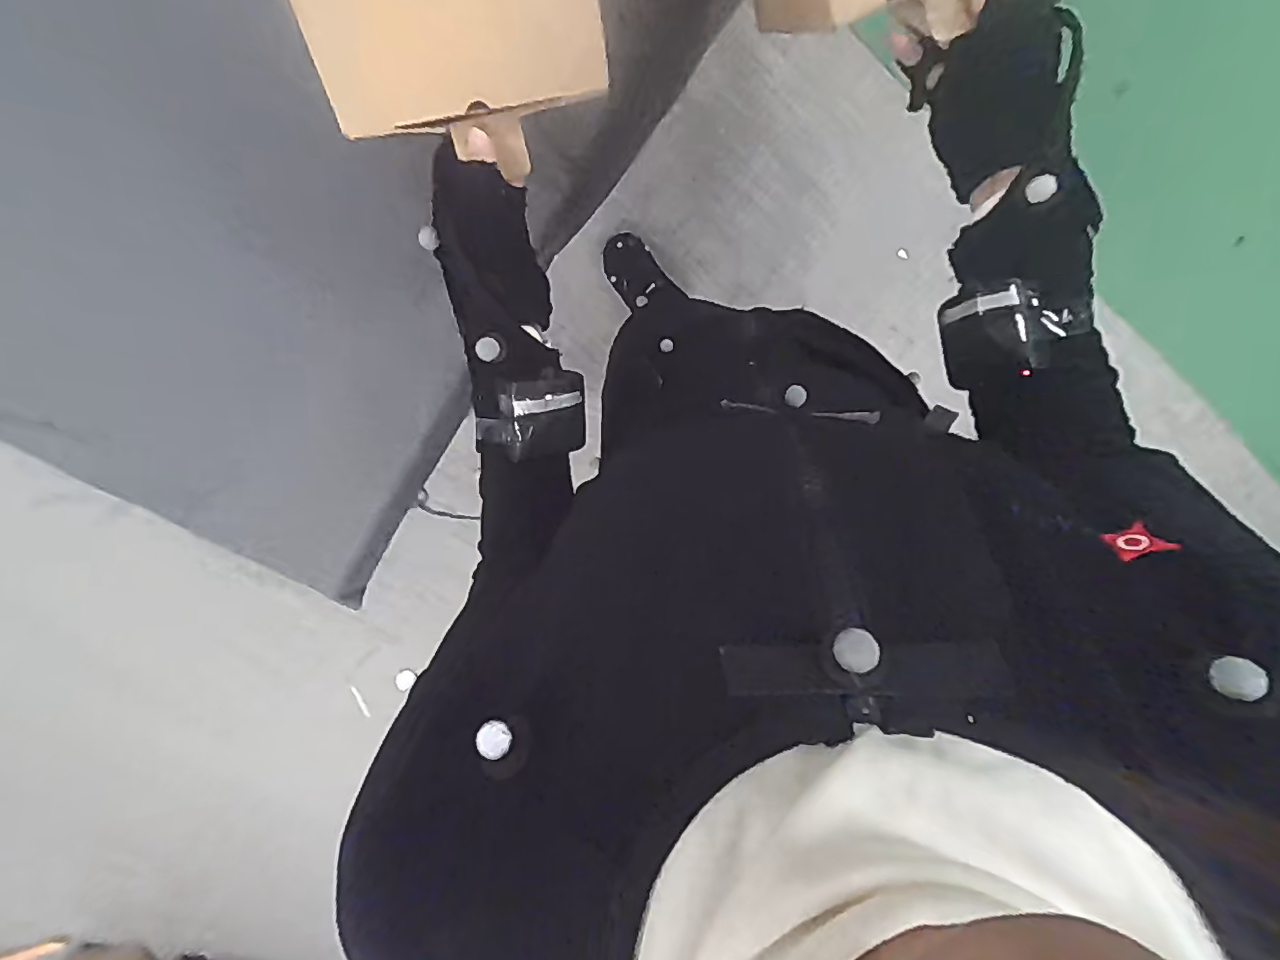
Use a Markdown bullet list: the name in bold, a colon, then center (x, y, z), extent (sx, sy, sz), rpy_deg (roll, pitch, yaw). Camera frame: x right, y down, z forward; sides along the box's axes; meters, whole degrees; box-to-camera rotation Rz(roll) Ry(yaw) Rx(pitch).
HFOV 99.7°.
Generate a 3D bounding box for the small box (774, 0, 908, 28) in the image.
- **small box**: center (0.156, -0.407, 0.314), extent (0.168, 0.176, 0.179), rpy_deg (-21, 131, 9)

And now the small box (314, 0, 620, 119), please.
- **small box**: center (-0.111, -0.346, 0.340), extent (0.168, 0.176, 0.179), rpy_deg (-11, 126, -3)
